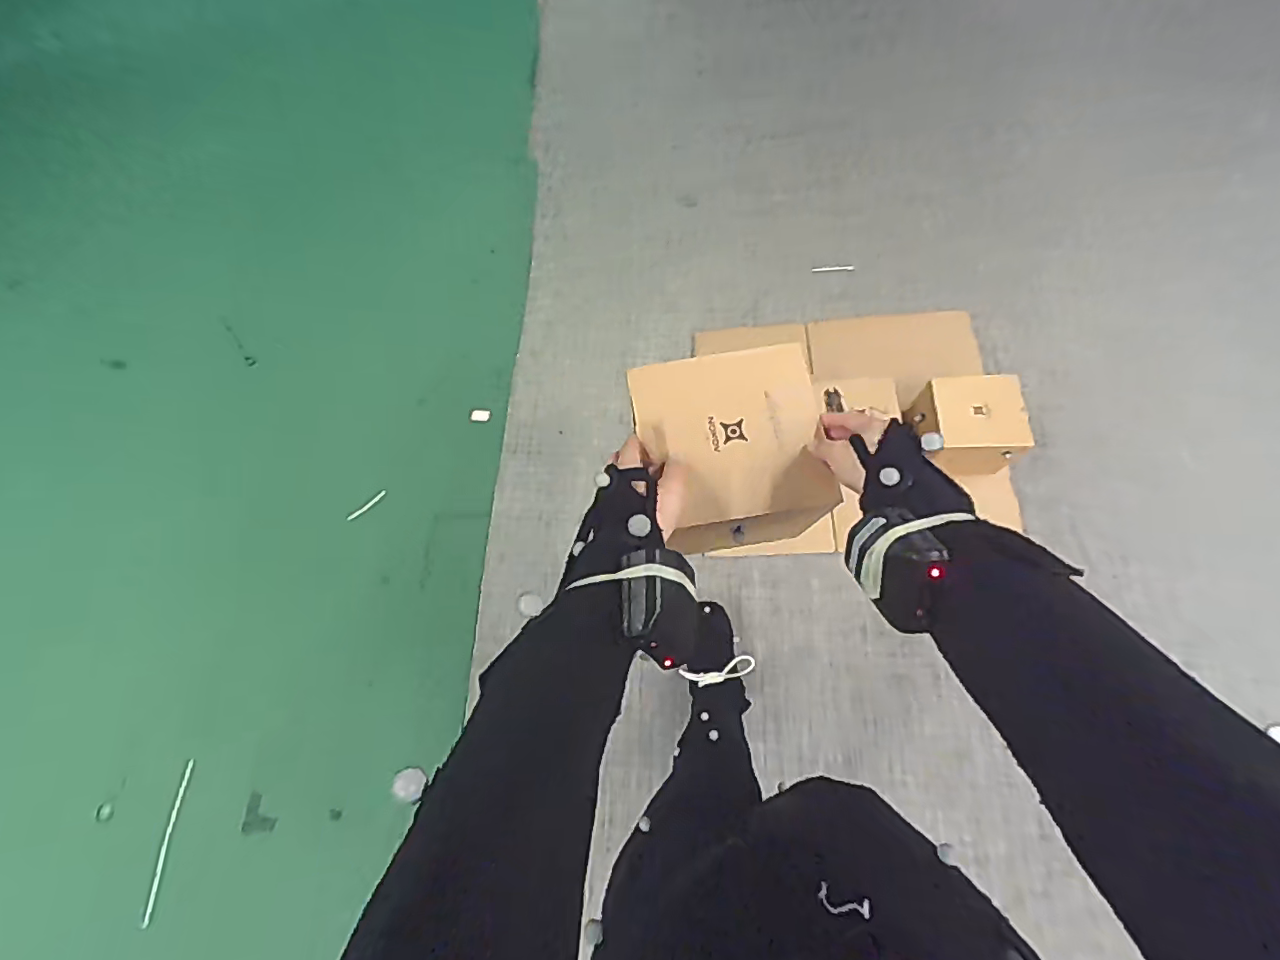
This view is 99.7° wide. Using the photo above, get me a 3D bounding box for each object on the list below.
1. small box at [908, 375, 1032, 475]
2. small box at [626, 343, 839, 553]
[{"bbox_3d":[0.708,-0.113,1.187,0.179,0.176,0.168,-1,70,7],"label":"small box"},{"bbox_3d":[0.085,-0.023,0.582,0.179,0.176,0.168,-9,74,-1],"label":"small box"}]
